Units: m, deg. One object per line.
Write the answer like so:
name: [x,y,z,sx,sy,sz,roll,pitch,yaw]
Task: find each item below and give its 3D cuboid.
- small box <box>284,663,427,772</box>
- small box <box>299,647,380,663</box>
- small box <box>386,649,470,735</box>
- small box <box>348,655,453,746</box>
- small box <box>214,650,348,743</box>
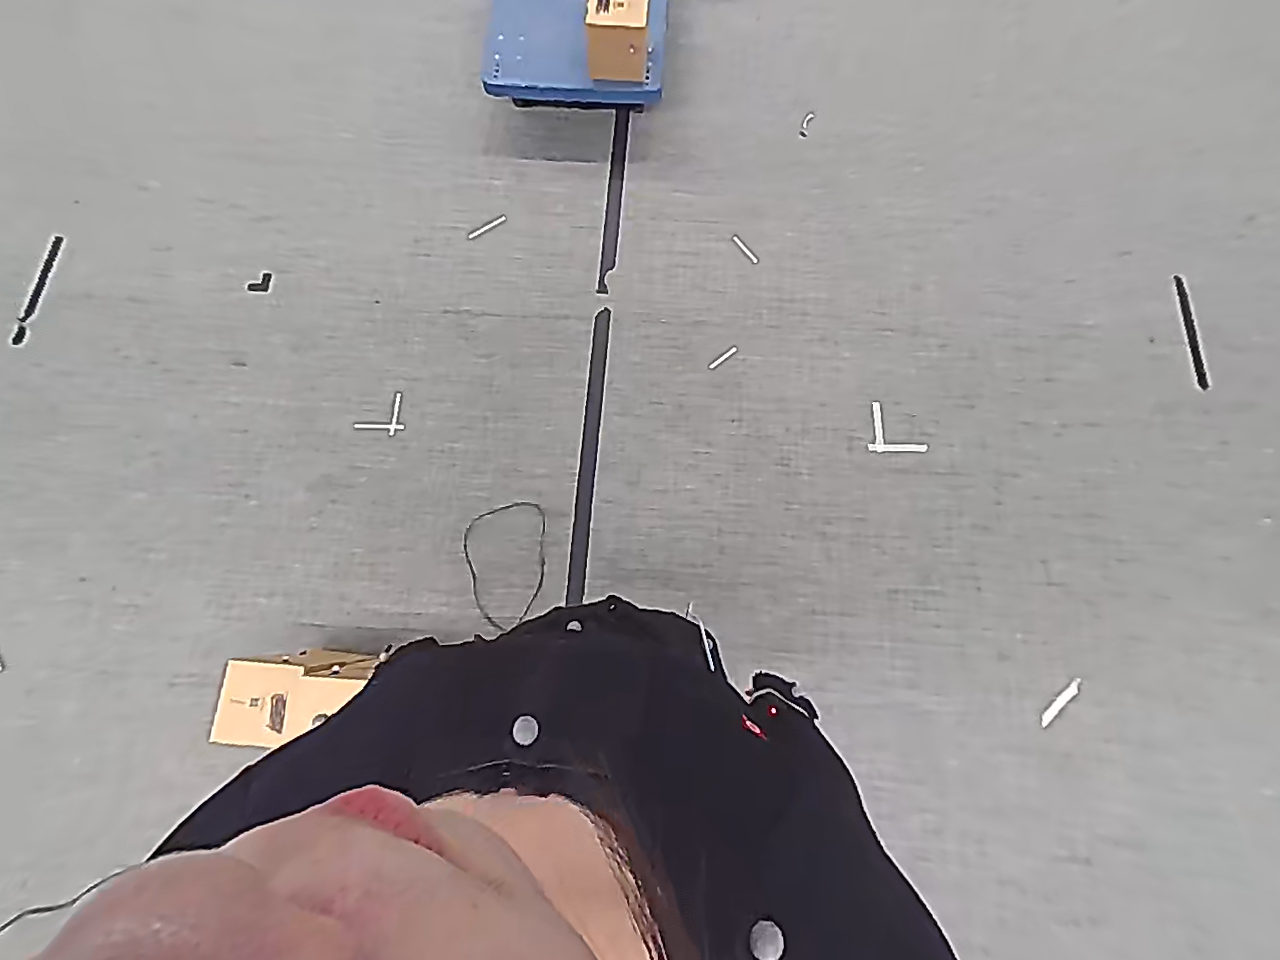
small box: [-0.546,0.456,1.060,0.179,0.176,0.168,4,77,0]
small box: [-0.798,0.524,1.386,0.179,0.176,0.168,5,77,3]
small box: [-0.548,0.533,1.380,0.168,0.176,0.179,4,76,0]
small box: [-0.547,0.491,1.223,0.179,0.176,0.168,3,77,1]
small box: [-0.800,0.483,1.227,0.179,0.176,0.168,4,76,3]
